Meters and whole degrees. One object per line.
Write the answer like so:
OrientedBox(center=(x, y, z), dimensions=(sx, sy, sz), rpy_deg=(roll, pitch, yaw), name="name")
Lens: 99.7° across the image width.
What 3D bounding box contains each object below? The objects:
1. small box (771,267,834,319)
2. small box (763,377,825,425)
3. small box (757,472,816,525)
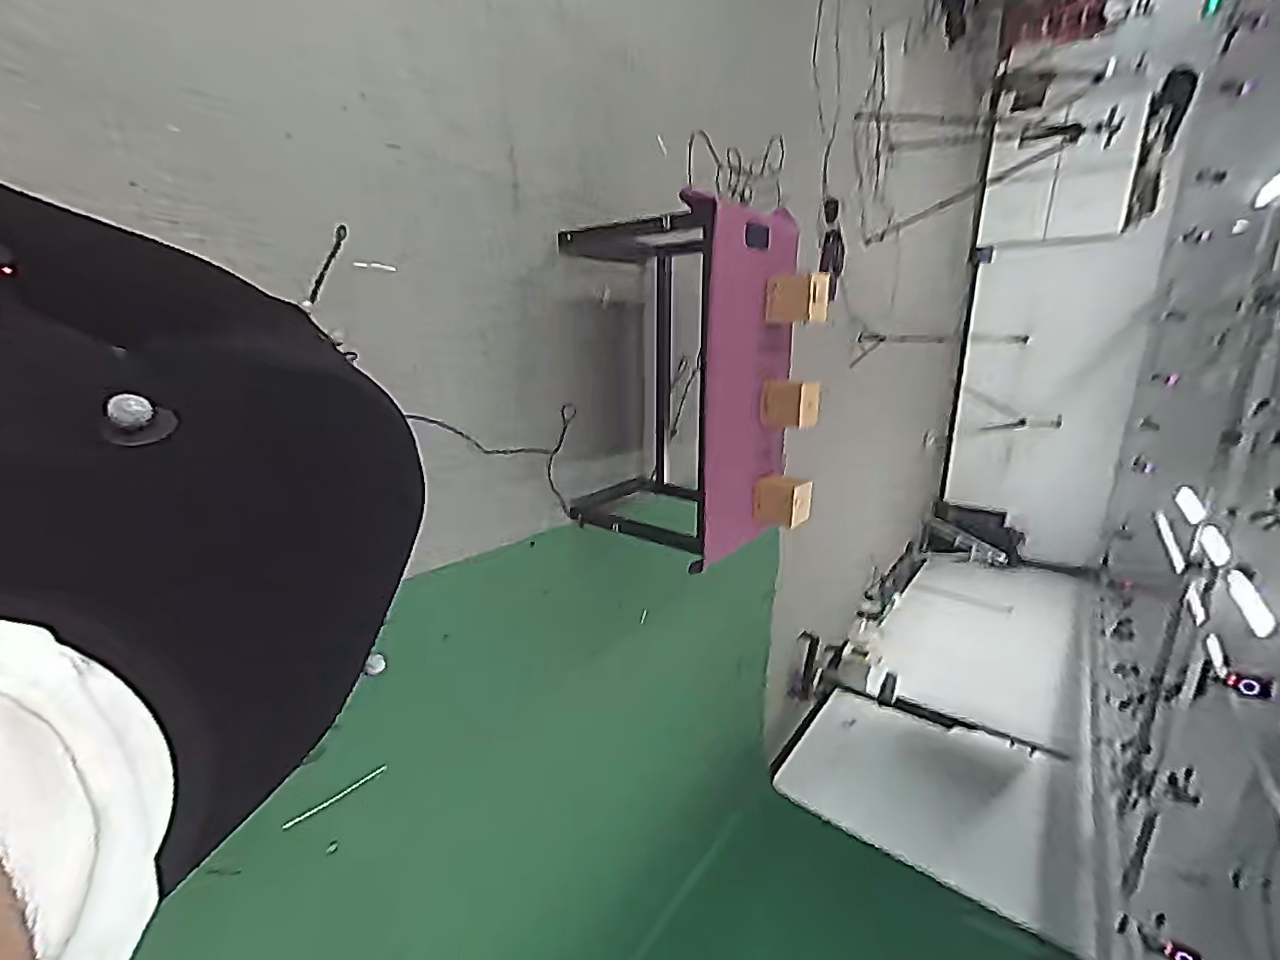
OrientedBox(center=(0.593, -0.679, 1.977), dimensions=(0.179, 0.176, 0.168), rpy_deg=(-19, 114, -48), name="small box")
OrientedBox(center=(0.592, -0.309, 2.082), dimensions=(0.179, 0.176, 0.168), rpy_deg=(-17, 112, -48), name="small box")
OrientedBox(center=(0.591, 0.070, 2.180), dimensions=(0.179, 0.176, 0.168), rpy_deg=(-16, 111, -49), name="small box")
